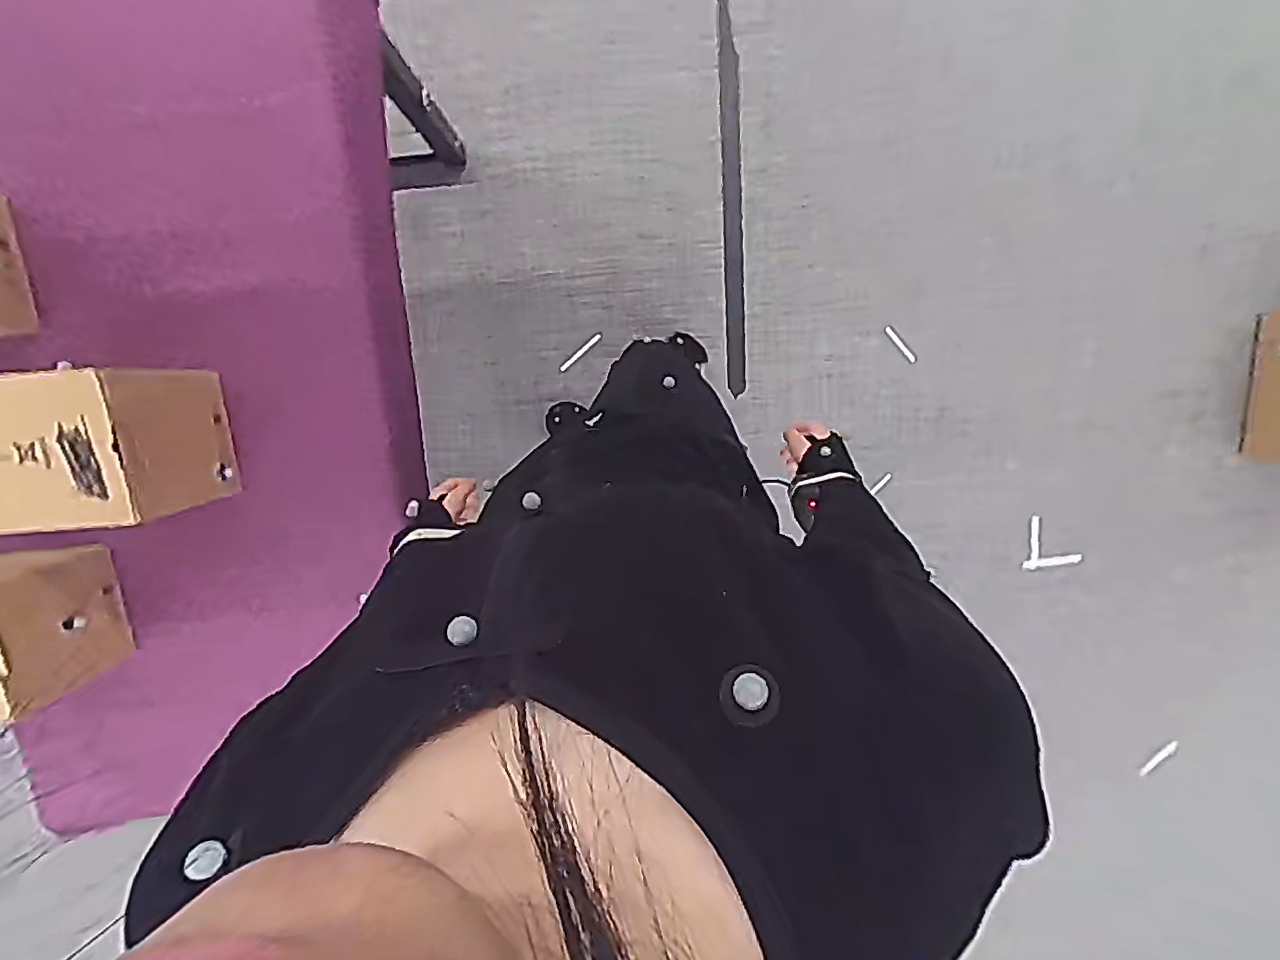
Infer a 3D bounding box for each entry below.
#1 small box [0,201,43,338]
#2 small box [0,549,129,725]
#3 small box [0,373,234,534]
[{"bbox_3d":[-0.854,-0.245,0.602,0.179,0.176,0.168,-5,101,-2],"label":"small box"},{"bbox_3d":[-0.805,0.193,0.682,0.179,0.176,0.168,-6,100,-3],"label":"small box"},{"bbox_3d":[-0.631,-0.040,0.648,0.179,0.176,0.168,-4,100,0],"label":"small box"}]
